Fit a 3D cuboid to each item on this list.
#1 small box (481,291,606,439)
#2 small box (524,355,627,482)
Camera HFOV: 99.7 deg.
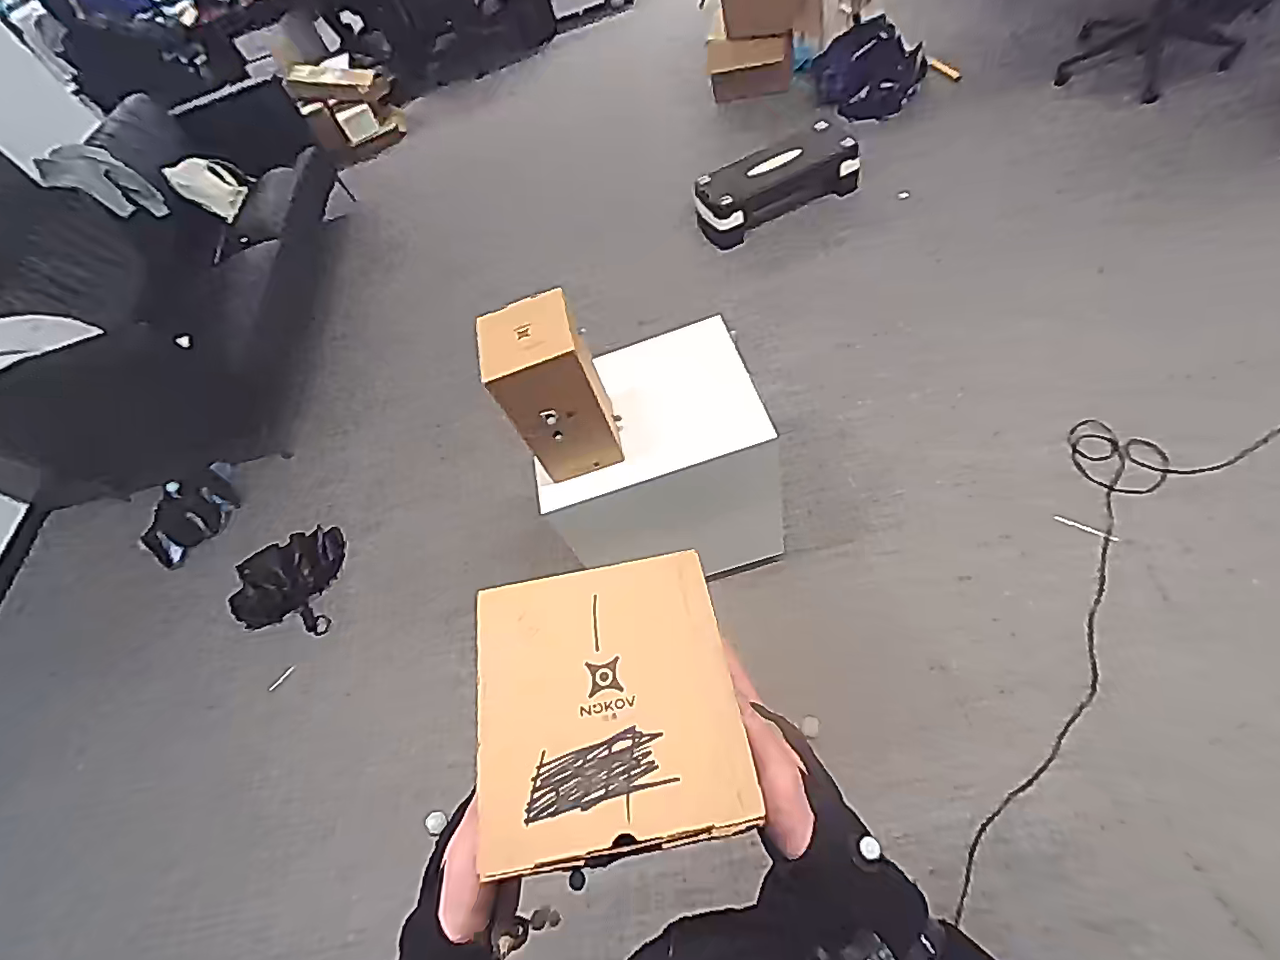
[{"bbox_3d":[-0.175,-0.207,0.996,0.168,0.176,0.179,-20,55,5],"label":"small box"},{"bbox_3d":[-0.138,-0.125,1.133,0.168,0.176,0.179,-18,54,5],"label":"small box"}]
